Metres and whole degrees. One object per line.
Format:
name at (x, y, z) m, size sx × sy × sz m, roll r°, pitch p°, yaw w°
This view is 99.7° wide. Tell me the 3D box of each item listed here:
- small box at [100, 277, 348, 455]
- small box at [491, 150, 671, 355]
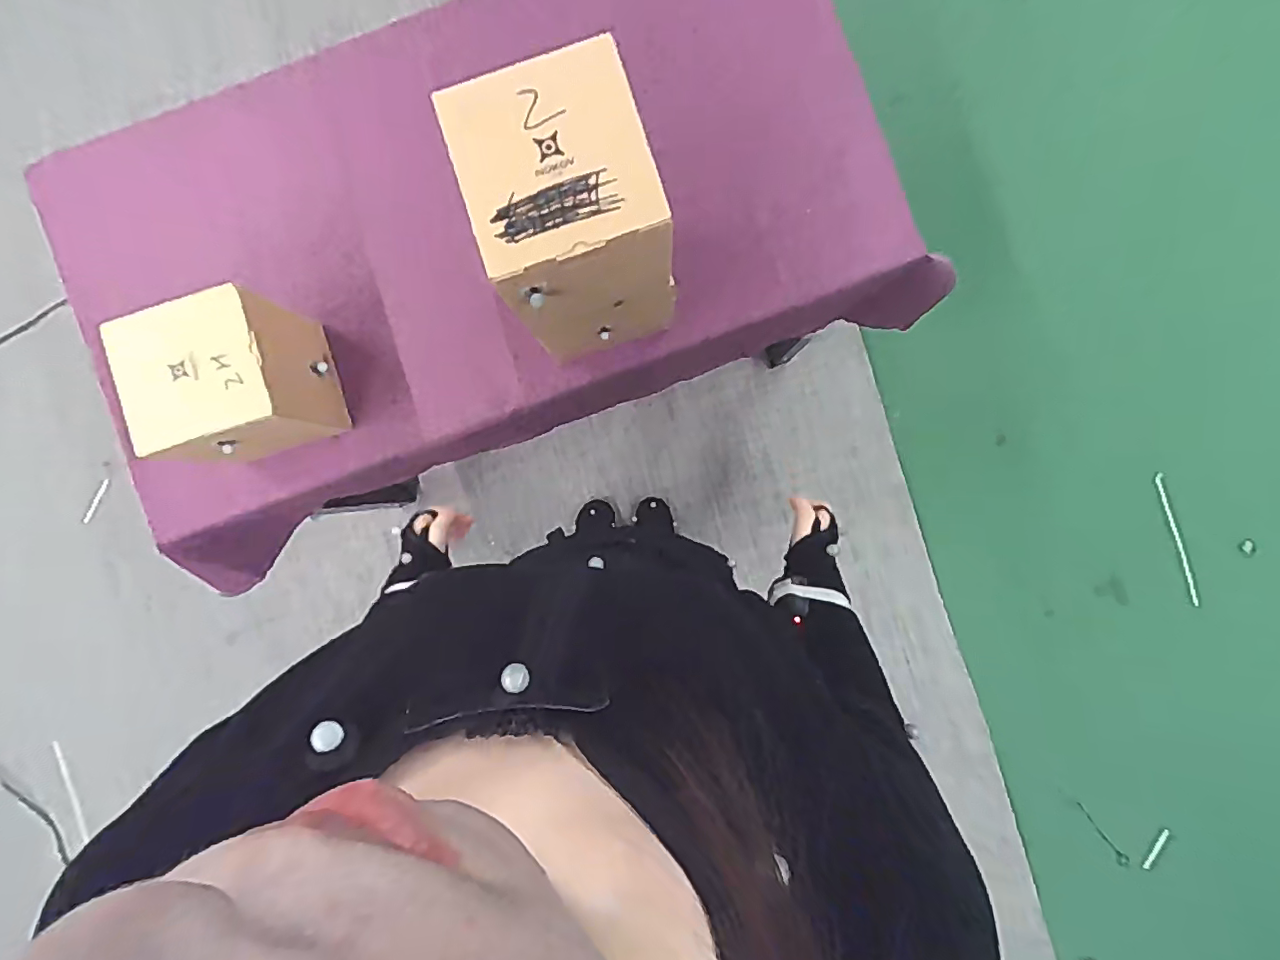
small box at (-0.531, -0.136, 0.714) m, size 0.179 × 0.176 × 0.168 m, roll -17°, pitch 89°, yaw 1°
small box at (-0.067, -0.279, 0.704) m, size 0.179 × 0.176 × 0.168 m, roll -17°, pitch 89°, yaw 2°
